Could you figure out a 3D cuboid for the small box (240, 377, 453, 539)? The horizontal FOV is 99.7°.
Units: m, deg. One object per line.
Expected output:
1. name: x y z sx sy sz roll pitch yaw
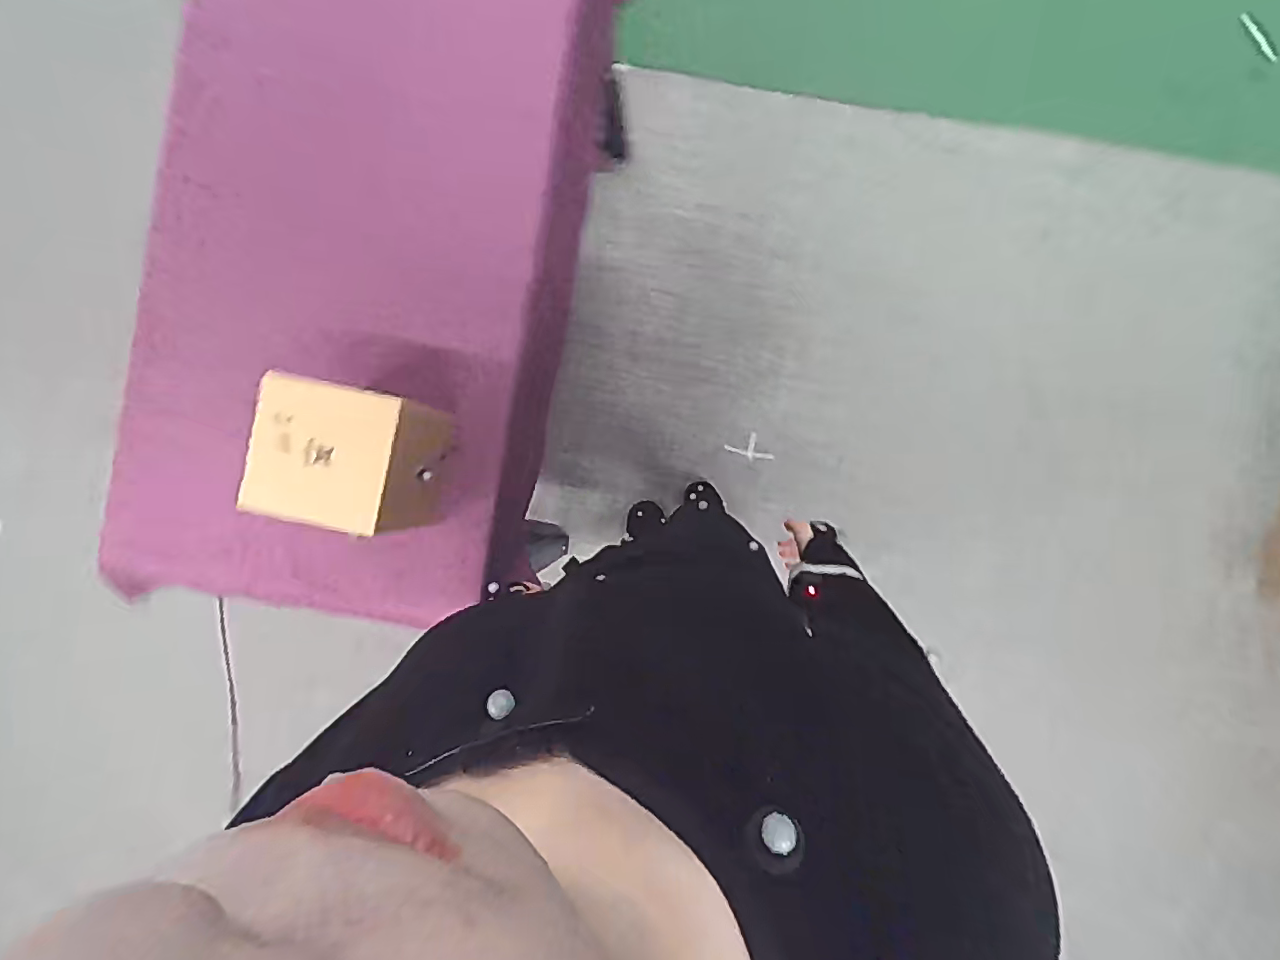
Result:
1. small box: -0.372 -0.026 0.719 0.179 0.176 0.168 11 89 4
